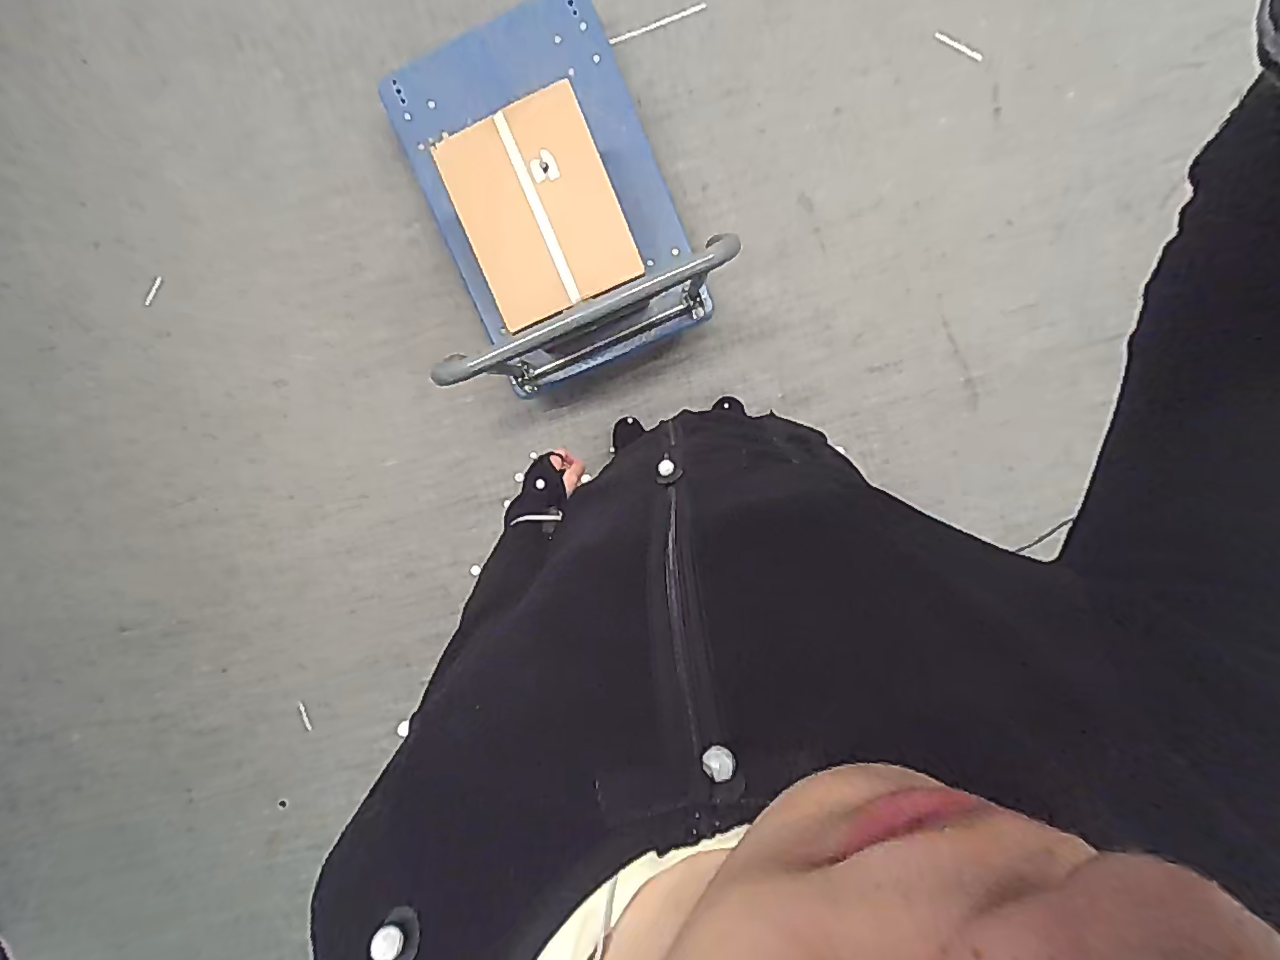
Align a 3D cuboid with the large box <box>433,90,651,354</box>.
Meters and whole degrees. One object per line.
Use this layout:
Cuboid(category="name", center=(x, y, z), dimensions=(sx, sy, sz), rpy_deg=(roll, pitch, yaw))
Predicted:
Cuboid(category="large box", center=(-0.196, -0.554, 1.250), dimensions=(0.320, 0.320, 0.408), rpy_deg=(-23, 94, 4))
